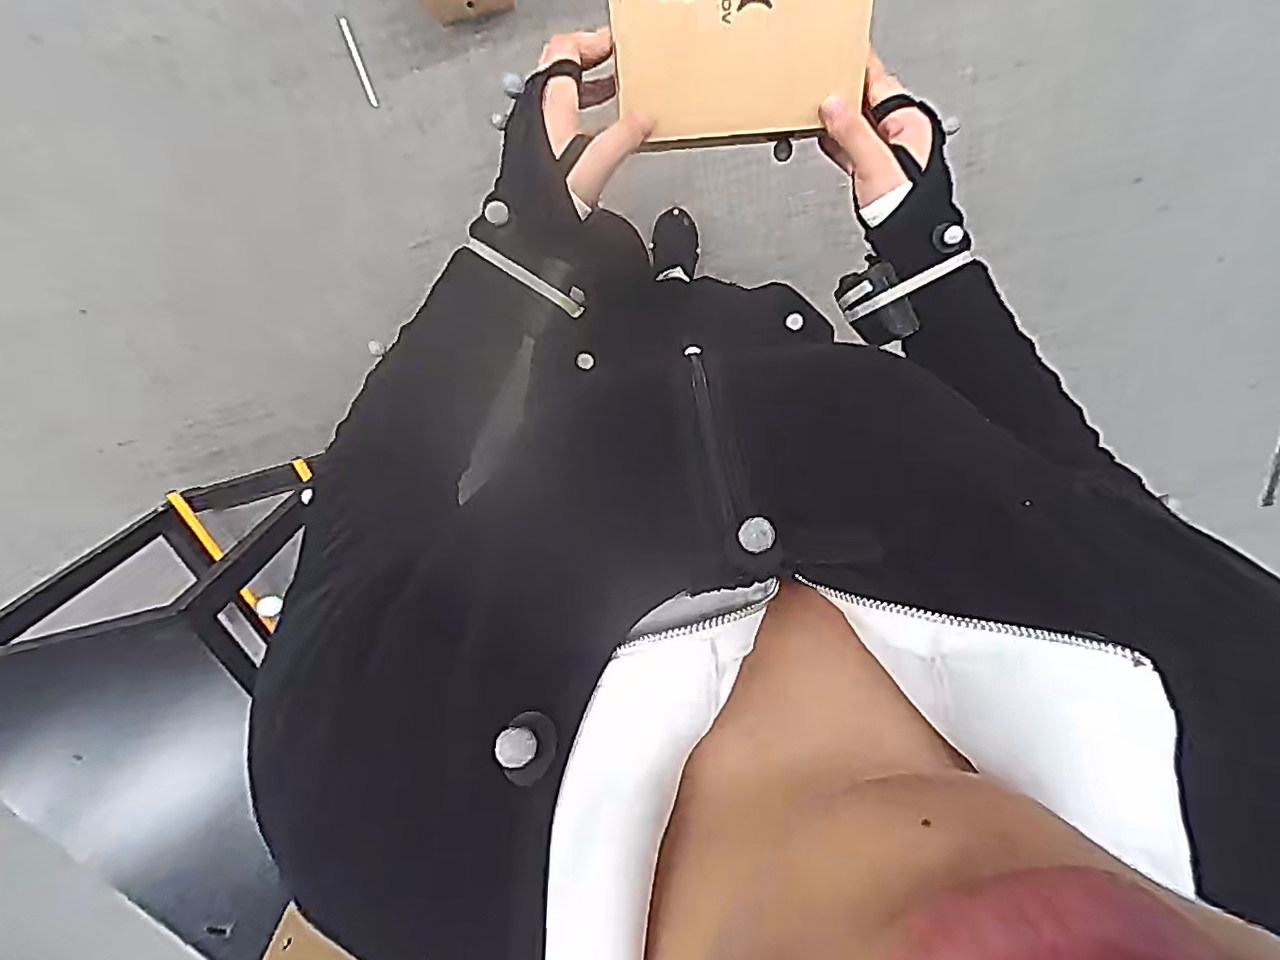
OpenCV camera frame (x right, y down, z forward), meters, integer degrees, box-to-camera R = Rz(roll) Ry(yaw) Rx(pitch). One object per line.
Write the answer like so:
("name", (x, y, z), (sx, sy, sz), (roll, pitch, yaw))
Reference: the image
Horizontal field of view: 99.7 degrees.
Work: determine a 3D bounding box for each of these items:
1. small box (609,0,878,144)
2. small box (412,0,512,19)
("small box", (0.066, -0.360, 0.411), (0.179, 0.176, 0.168), (-4, 119, 2))
("small box", (-0.342, -0.970, 0.976), (0.168, 0.176, 0.179), (-11, 118, 4))
